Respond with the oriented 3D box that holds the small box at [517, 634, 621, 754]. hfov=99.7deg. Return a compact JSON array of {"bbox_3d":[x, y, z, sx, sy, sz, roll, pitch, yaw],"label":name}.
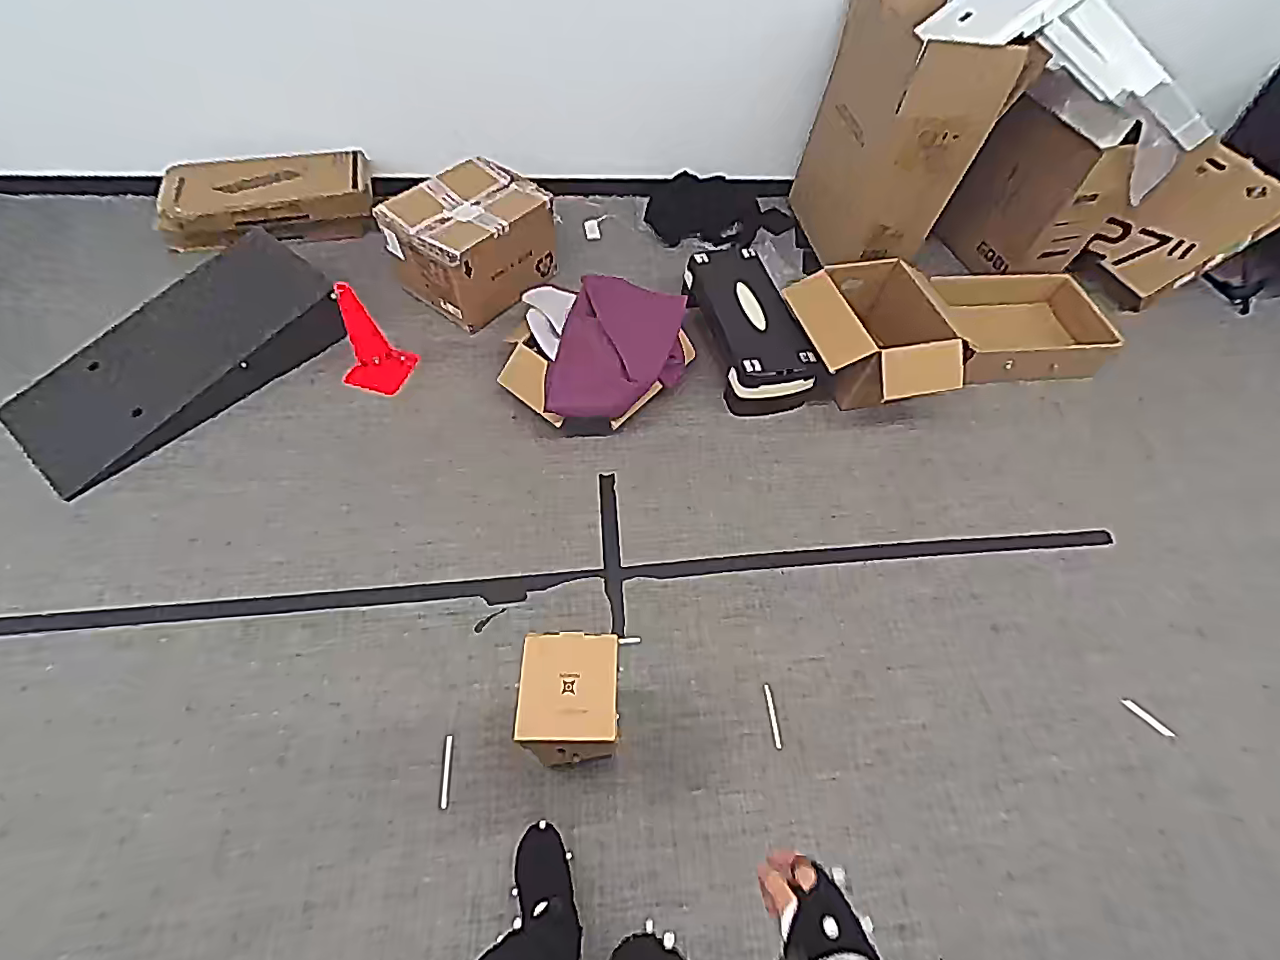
[{"bbox_3d":[-0.121,0.389,0.976,0.168,0.176,0.179,1,59,-3],"label":"small box"}]
